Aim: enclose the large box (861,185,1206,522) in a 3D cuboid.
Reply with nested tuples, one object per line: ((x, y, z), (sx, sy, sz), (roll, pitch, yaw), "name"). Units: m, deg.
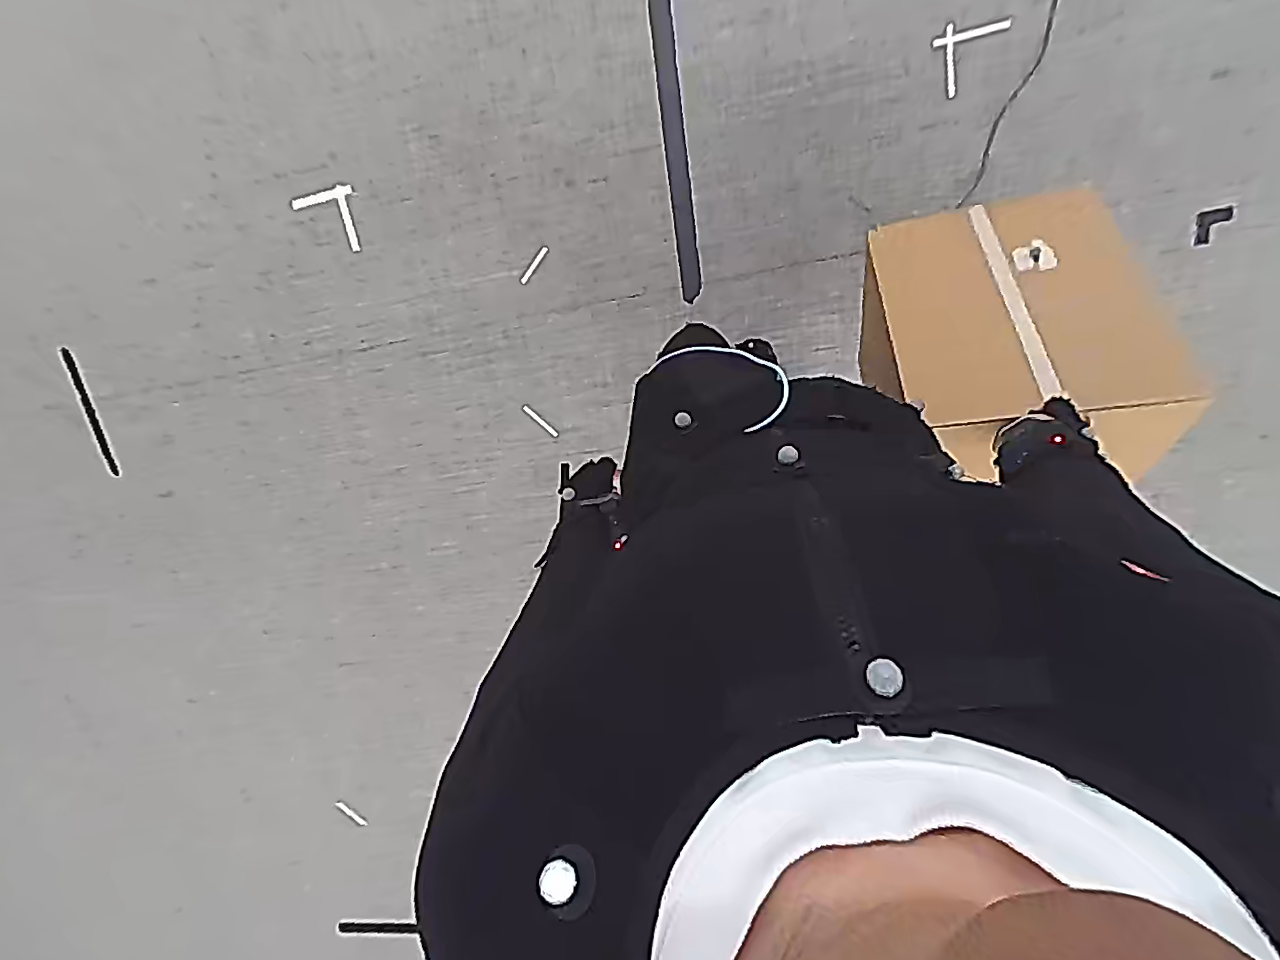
((0.556, -0.184, 0.877), (0.320, 0.320, 0.408), (-6, 59, 15), "large box")
